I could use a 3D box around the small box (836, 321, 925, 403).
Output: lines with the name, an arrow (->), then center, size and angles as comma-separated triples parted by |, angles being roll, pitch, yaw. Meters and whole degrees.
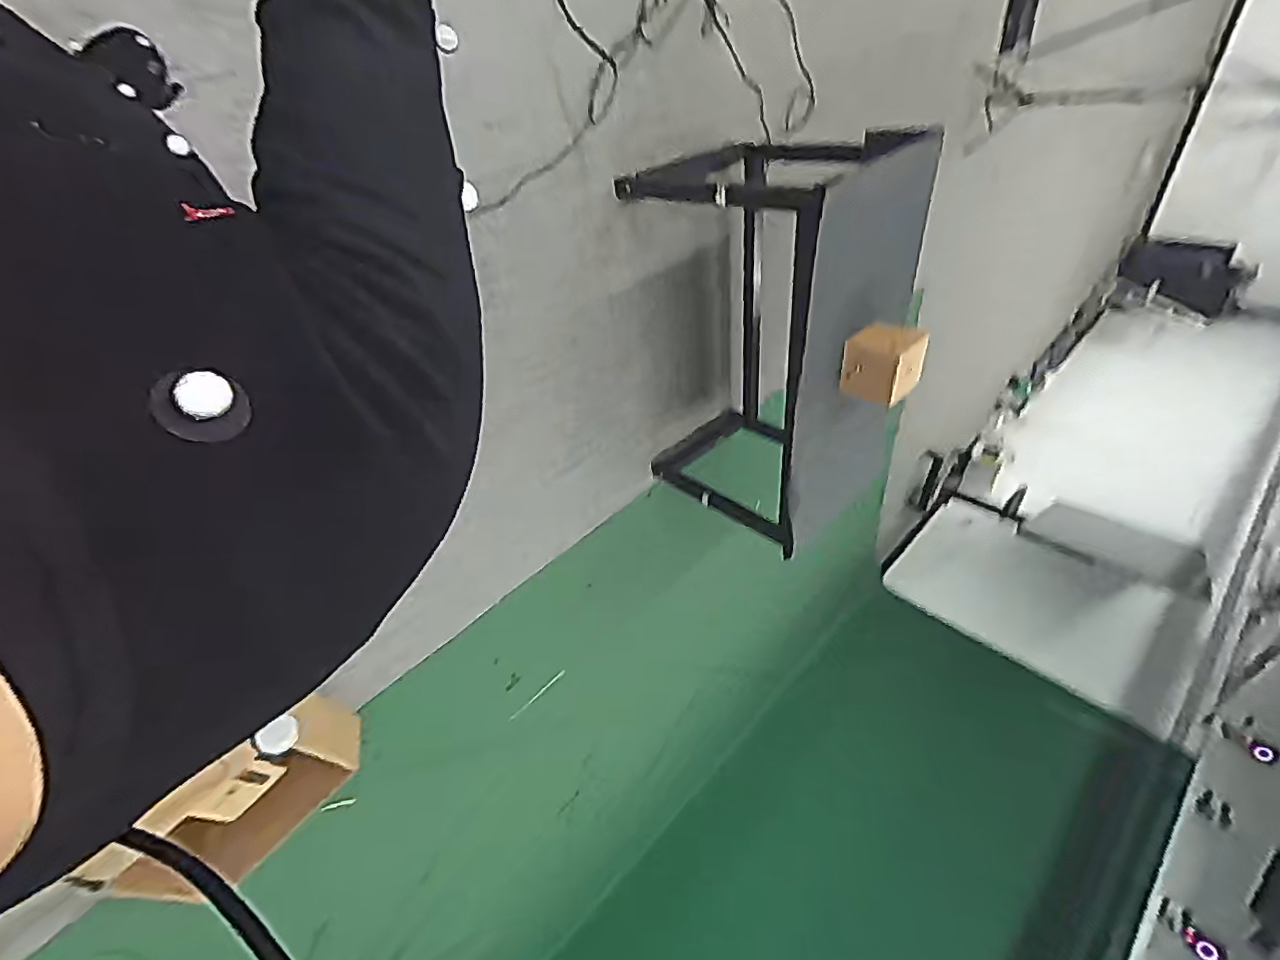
small box -> 0.717, -0.360, 1.619 | 0.179, 0.176, 0.168 | -34, 135, -28
